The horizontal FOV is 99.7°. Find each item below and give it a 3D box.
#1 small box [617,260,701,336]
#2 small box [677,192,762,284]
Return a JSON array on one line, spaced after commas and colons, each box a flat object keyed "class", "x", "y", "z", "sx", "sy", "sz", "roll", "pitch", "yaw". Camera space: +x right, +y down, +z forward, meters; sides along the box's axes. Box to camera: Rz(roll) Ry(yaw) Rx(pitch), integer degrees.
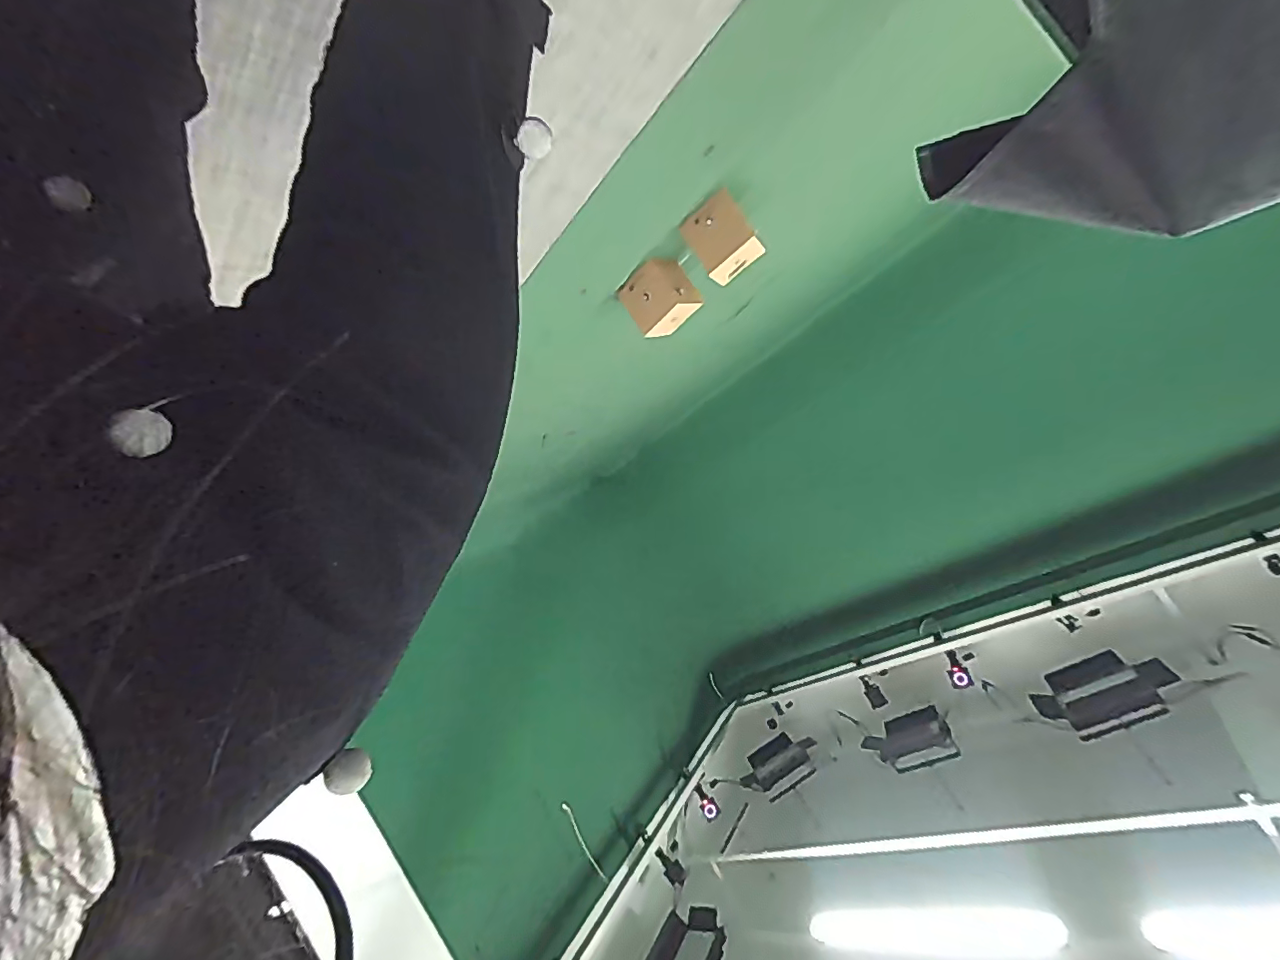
[{"class": "small box", "x": 0.058, "y": -0.591, "z": 1.751, "sx": 0.168, "sy": 0.176, "sz": 0.179, "roll": -35, "pitch": 175, "yaw": 37}, {"class": "small box", "x": 0.238, "y": -0.722, "z": 1.618, "sx": 0.168, "sy": 0.176, "sz": 0.179, "roll": -36, "pitch": 174, "yaw": 24}]
